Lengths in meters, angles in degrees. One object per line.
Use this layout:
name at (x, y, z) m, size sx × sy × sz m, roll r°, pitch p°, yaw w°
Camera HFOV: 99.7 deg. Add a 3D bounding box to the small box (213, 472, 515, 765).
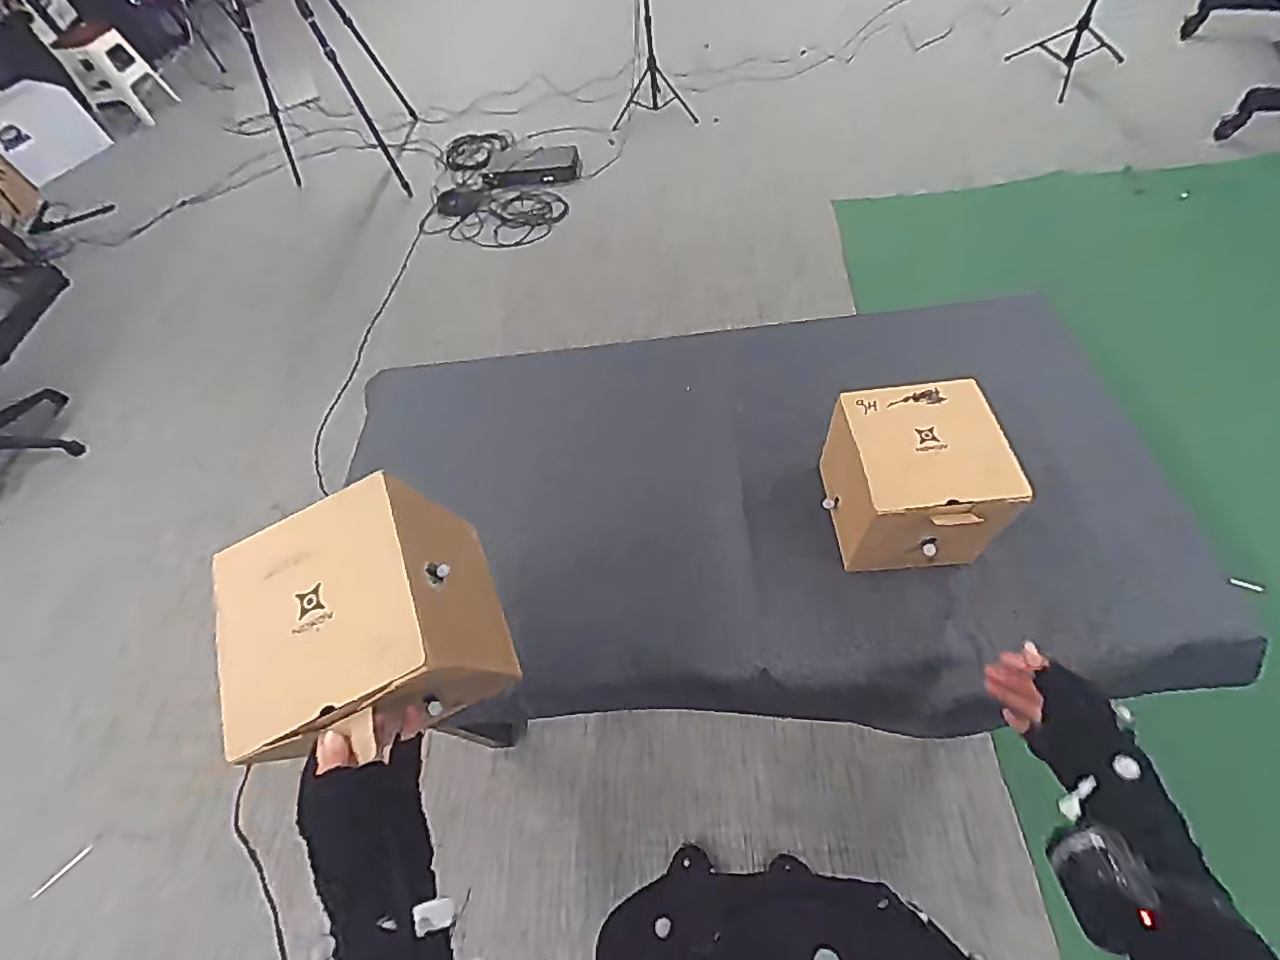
small box at (-0.235, 0.127, 0.489) m, size 0.168 × 0.176 × 0.179 m, roll -27°, pitch 64°, yaw 0°
